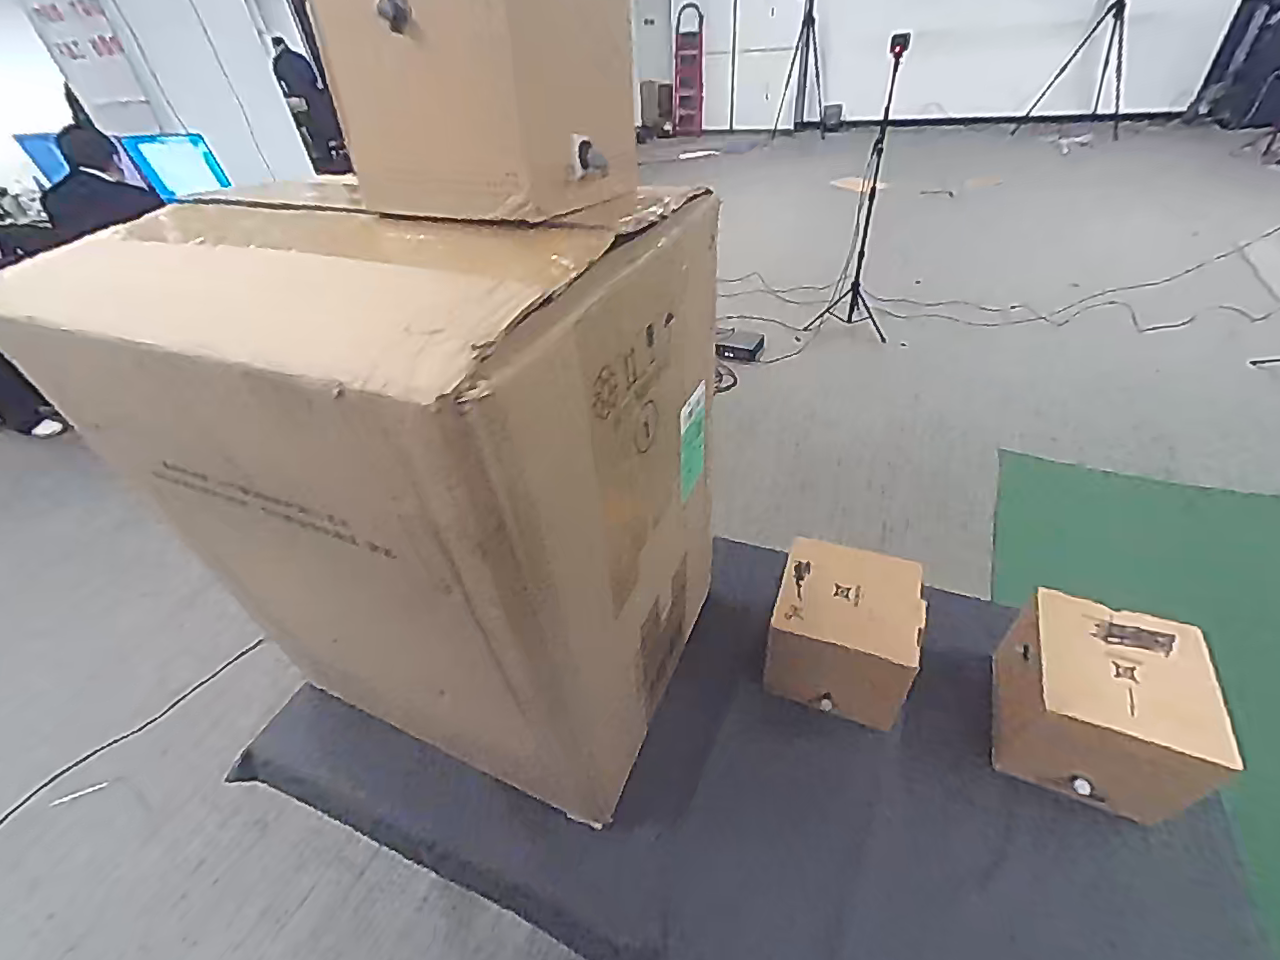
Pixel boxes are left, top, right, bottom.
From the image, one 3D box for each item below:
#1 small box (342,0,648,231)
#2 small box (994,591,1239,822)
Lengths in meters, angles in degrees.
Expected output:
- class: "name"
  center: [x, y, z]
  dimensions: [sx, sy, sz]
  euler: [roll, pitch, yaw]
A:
- class: "small box"
  center: [-0.105, -0.310, 0.442]
  dimensions: [0.179, 0.176, 0.168]
  euler: [15, 39, 21]
- class: "small box"
  center: [0.556, 0.275, 0.666]
  dimensions: [0.168, 0.176, 0.179]
  euler: [14, 45, 22]
